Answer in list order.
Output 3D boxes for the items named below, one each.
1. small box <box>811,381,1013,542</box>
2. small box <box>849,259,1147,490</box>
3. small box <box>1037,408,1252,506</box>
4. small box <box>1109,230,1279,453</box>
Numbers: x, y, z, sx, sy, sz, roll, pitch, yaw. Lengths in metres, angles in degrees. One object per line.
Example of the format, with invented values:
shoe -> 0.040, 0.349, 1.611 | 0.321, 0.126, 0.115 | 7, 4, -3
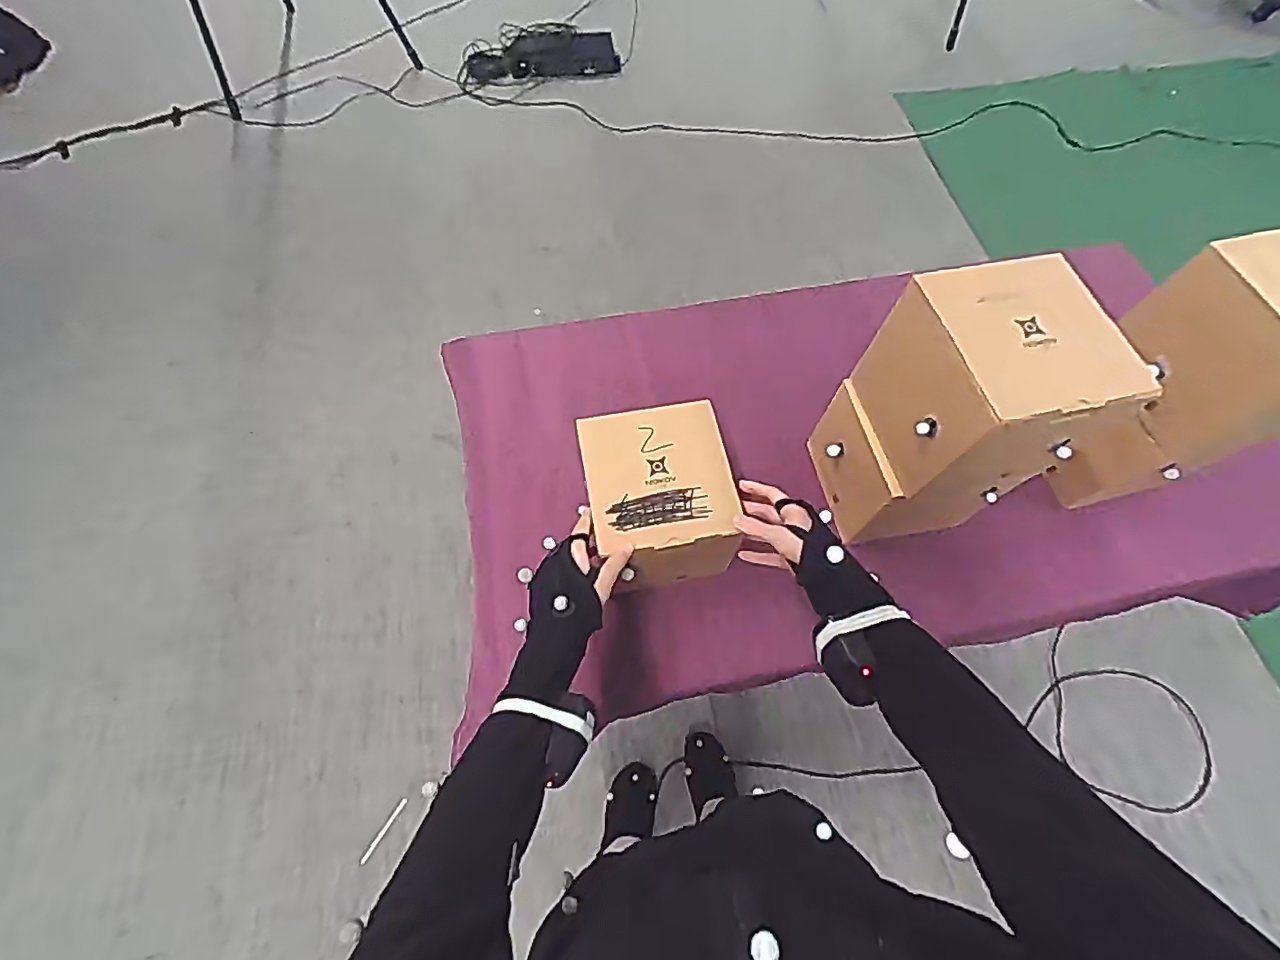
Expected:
small box -> 0.346, -0.028, 0.725 | 0.179, 0.176, 0.168 | -9, 64, -6
small box -> 0.355, -0.102, 0.579 | 0.168, 0.176, 0.179 | -10, 63, -7
small box -> 0.668, -0.080, 0.750 | 0.179, 0.176, 0.168 | -13, 65, -6
small box -> 0.670, -0.150, 0.601 | 0.179, 0.176, 0.168 | -12, 64, -6
